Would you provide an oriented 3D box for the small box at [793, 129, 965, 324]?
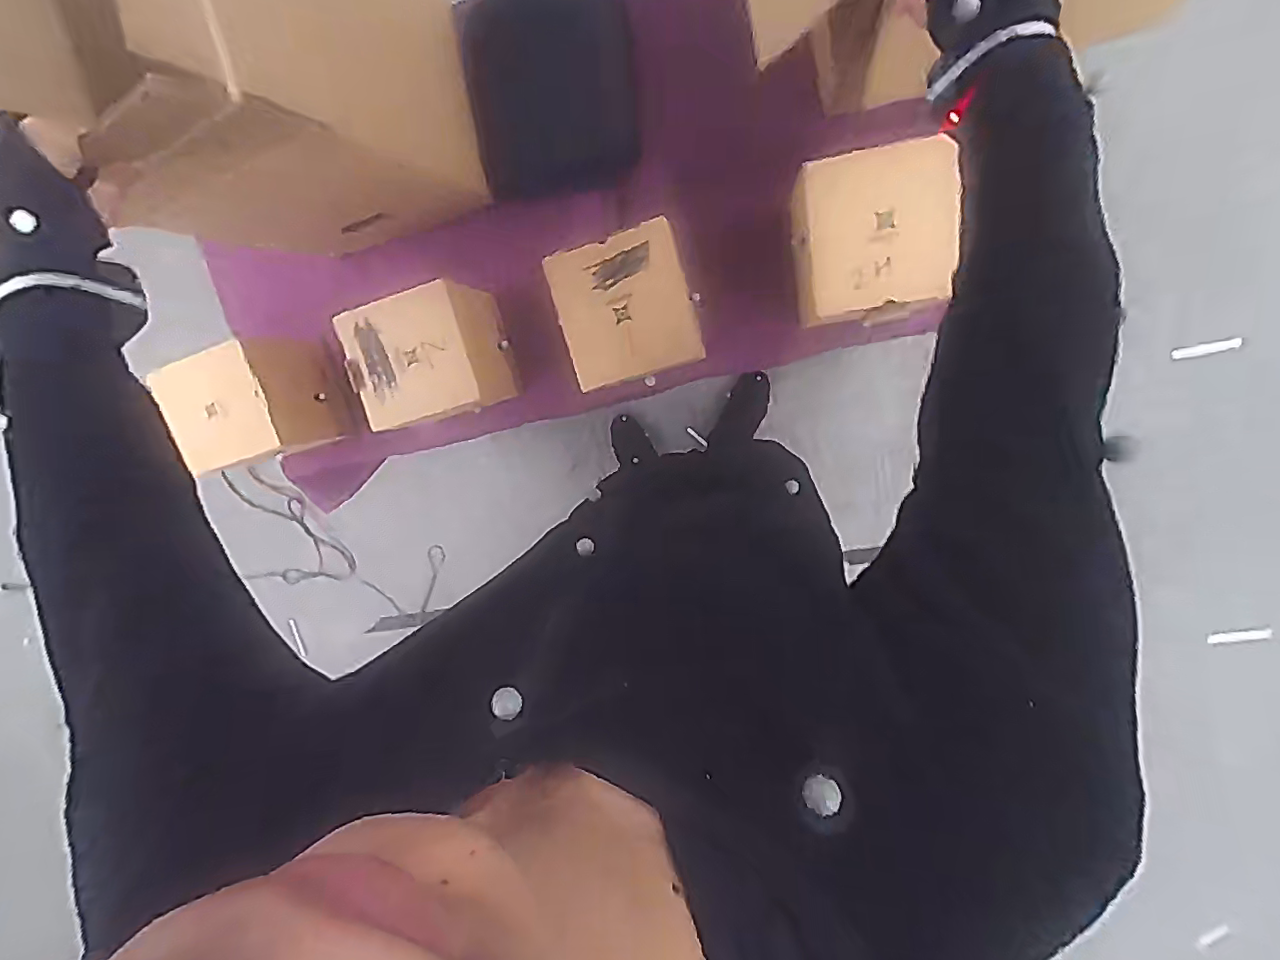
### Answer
[{"bbox_3d":[0.293,-0.305,0.692,0.168,0.176,0.179,-6,101,11],"label":"small box"}]

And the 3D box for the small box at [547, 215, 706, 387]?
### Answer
[{"bbox_3d":[-0.008,-0.237,0.757,0.168,0.176,0.179,-14,100,12],"label":"small box"}]

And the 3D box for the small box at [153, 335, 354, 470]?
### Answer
[{"bbox_3d":[-0.613,-0.126,0.879,0.179,0.176,0.168,-15,99,11],"label":"small box"}]
